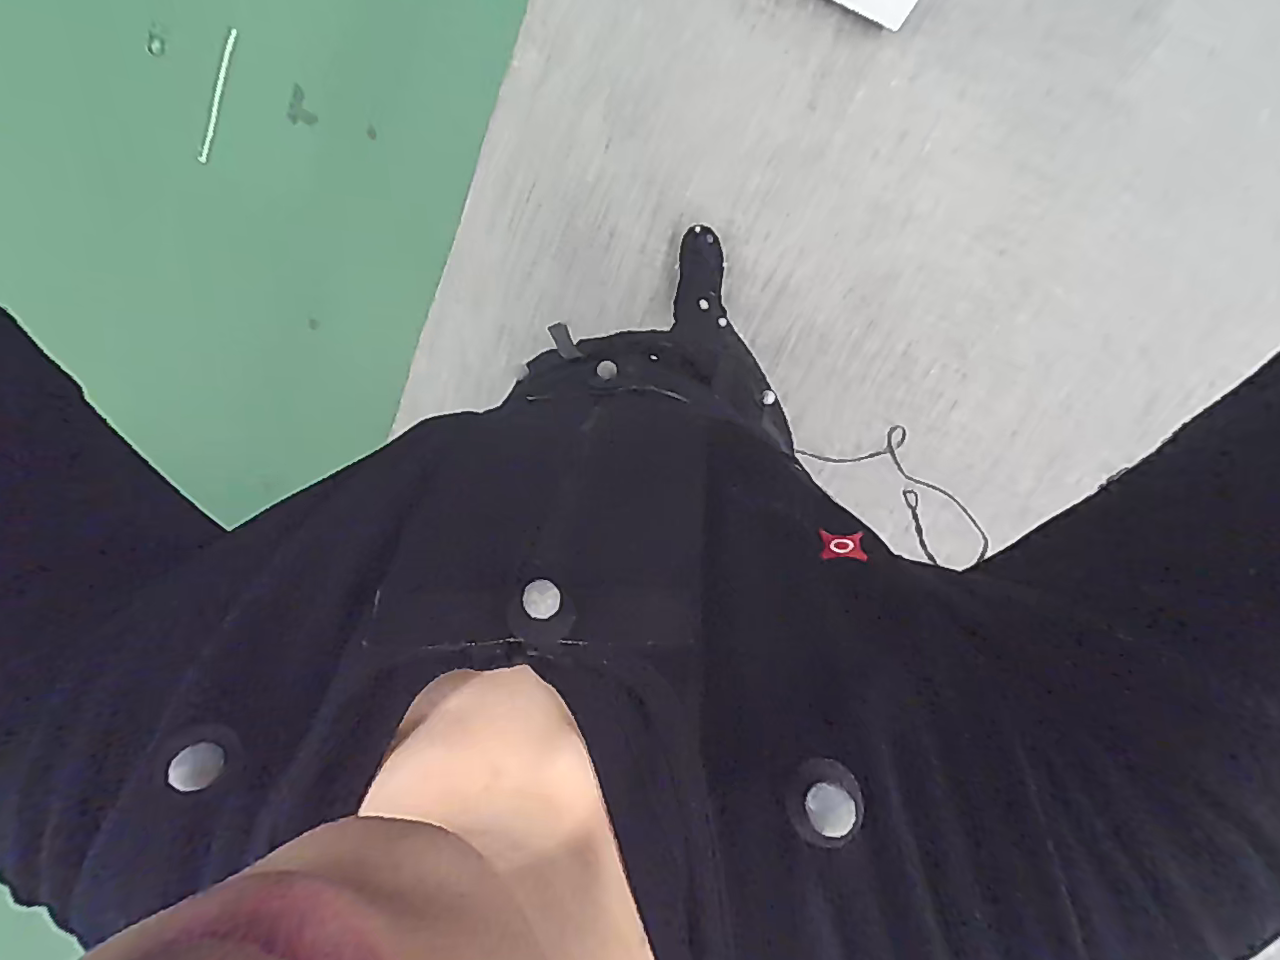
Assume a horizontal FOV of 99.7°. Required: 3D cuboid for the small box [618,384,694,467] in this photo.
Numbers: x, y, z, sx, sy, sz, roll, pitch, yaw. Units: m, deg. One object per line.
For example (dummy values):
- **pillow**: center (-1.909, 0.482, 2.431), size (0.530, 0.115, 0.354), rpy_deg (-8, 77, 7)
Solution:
- **small box**: center (0.038, -0.145, 1.384), size (0.168, 0.176, 0.179), rpy_deg (-6, 106, -8)
